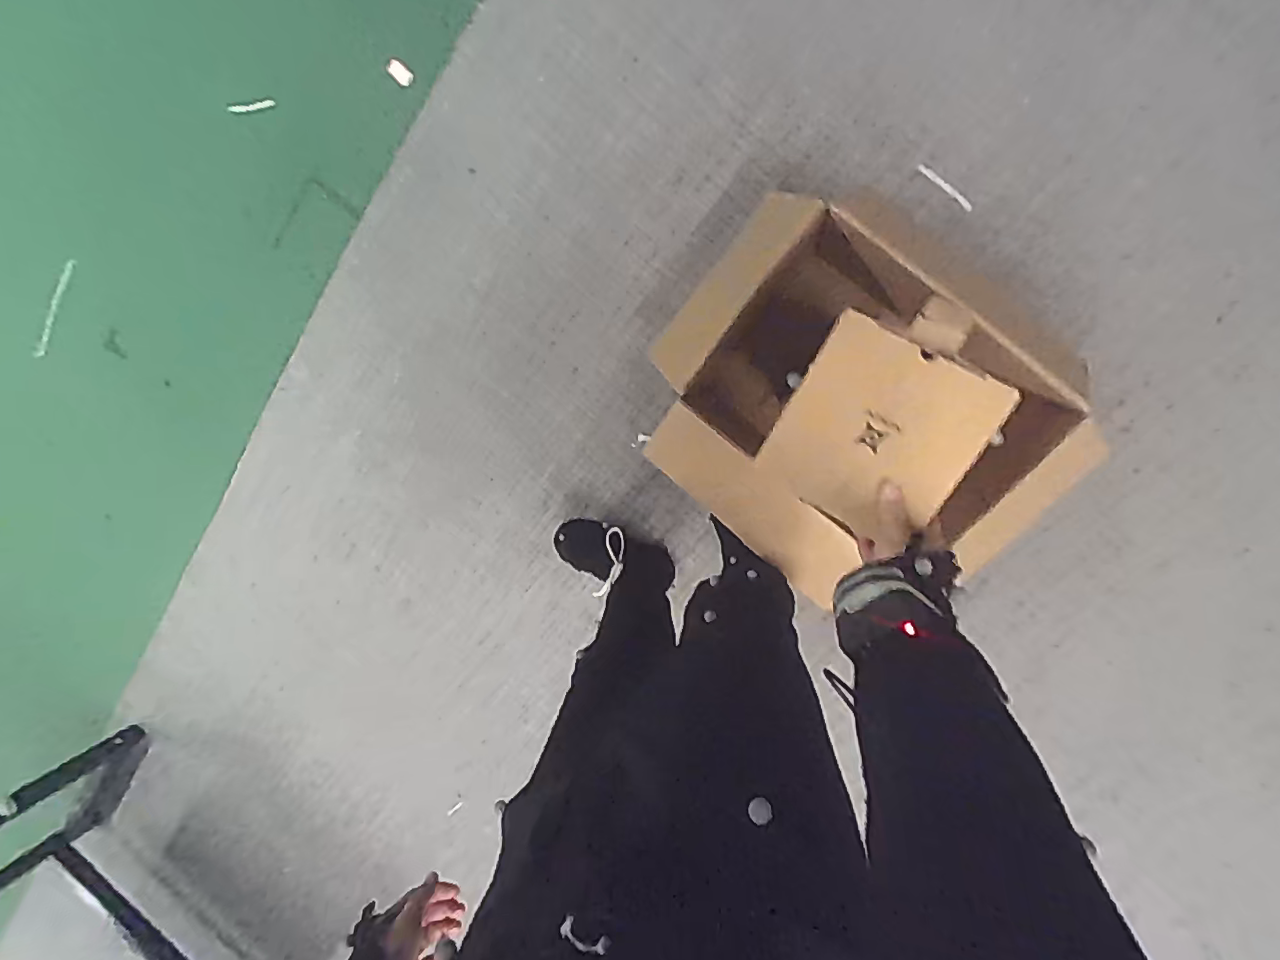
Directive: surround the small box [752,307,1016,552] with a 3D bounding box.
[{"bbox_3d":[0.246,-0.052,0.574,0.168,0.176,0.179,33,104,16],"label":"small box"}]
